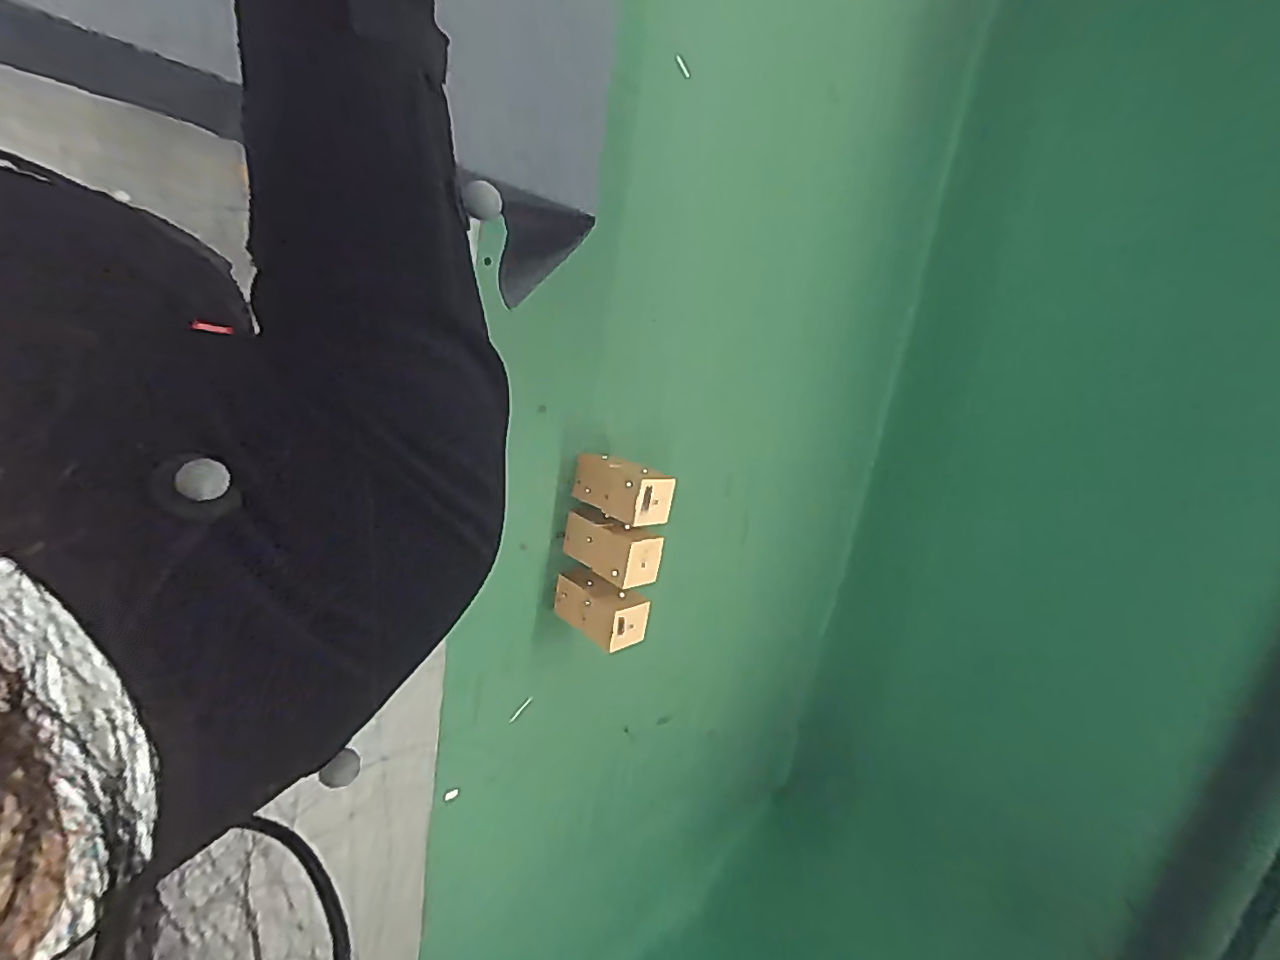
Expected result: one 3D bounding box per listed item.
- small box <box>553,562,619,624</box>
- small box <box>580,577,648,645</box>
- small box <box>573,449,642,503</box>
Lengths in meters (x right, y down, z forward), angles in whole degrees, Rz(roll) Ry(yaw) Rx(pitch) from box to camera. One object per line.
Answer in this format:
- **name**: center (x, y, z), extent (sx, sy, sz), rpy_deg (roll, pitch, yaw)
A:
- **small box**: center (-0.211, 0.430, 2.101), extent (0.179, 0.176, 0.168), rpy_deg (-4, 110, -44)
- **small box**: center (-0.099, 0.477, 1.990), extent (0.179, 0.176, 0.168), rpy_deg (-5, 111, -45)
- **small box**: center (-0.125, -0.017, 2.001), extent (0.179, 0.176, 0.168), rpy_deg (2, 105, -46)
